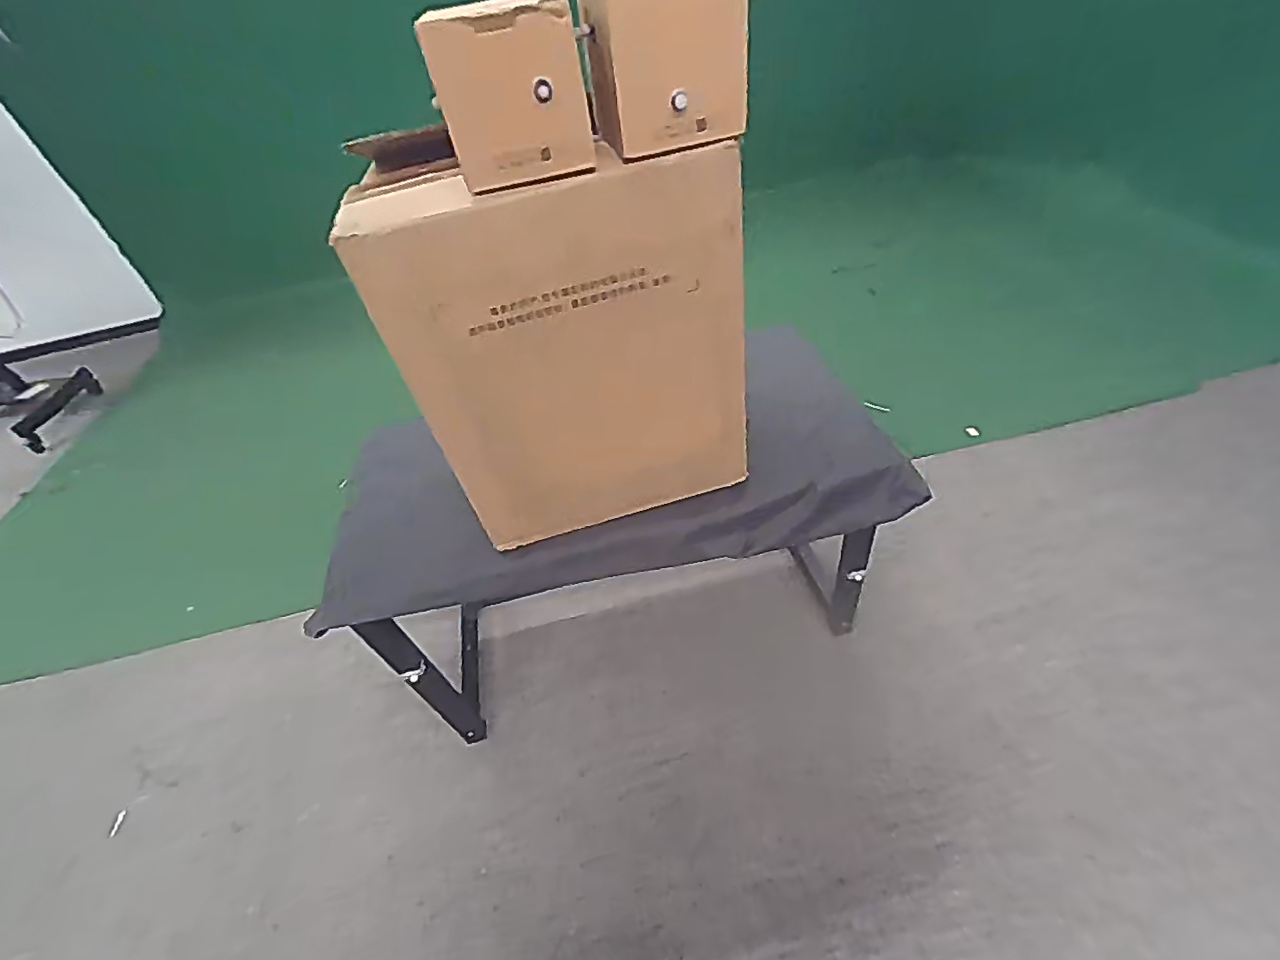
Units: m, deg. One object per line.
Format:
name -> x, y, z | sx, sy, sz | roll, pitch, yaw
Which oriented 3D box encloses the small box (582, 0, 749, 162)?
small box -> 0.029, -0.531, 0.696 | 0.168, 0.176, 0.179 | -16, 46, -5
